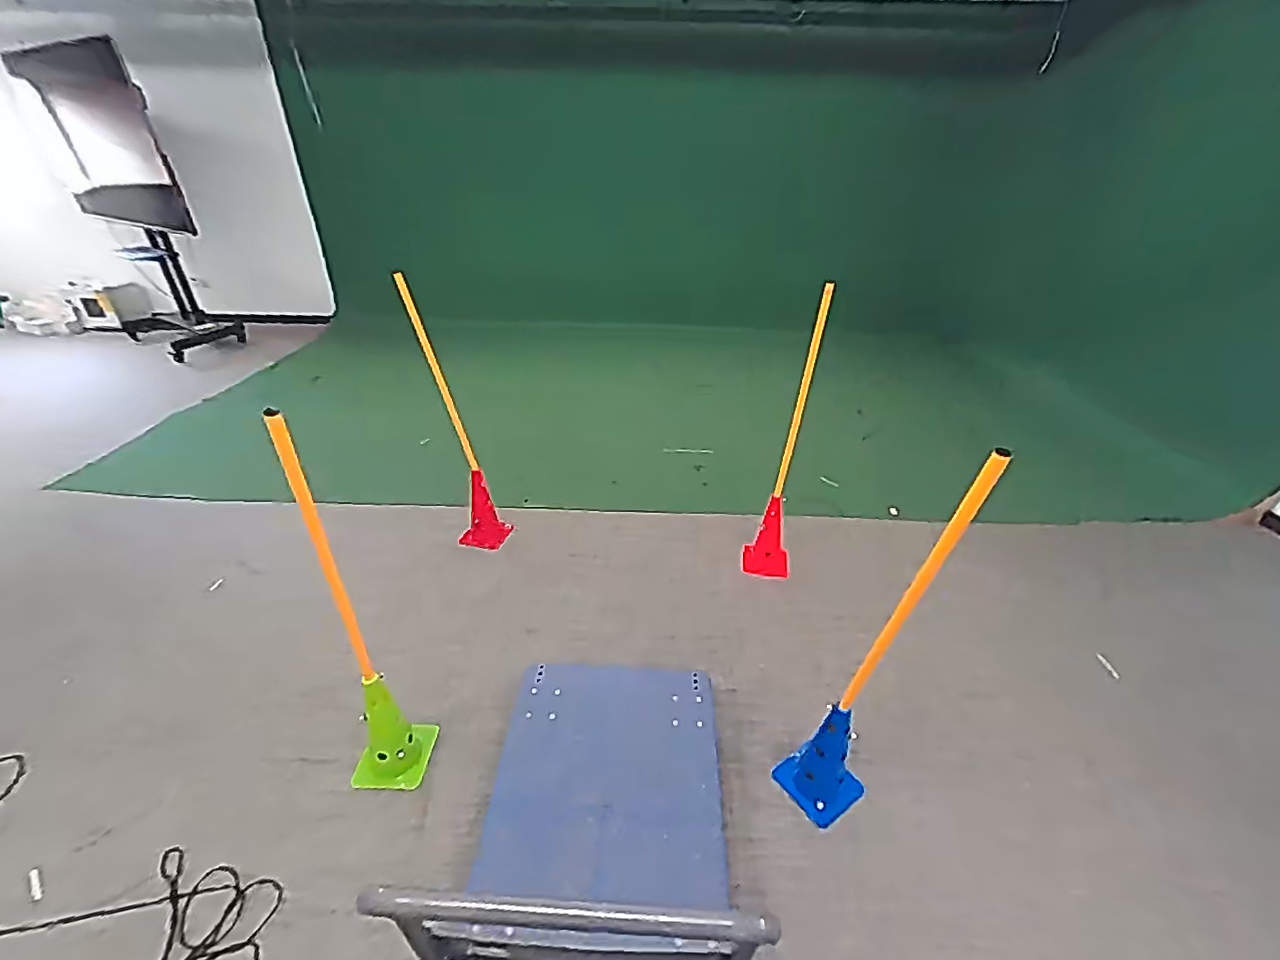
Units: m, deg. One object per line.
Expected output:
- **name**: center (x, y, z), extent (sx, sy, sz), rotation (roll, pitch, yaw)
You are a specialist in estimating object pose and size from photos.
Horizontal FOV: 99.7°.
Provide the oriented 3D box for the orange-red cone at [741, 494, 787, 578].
- **orange-red cone**: center (0.555, 0.218, 2.318), extent (0.198, 0.360, 0.199), rotation (7, 33, 11)
